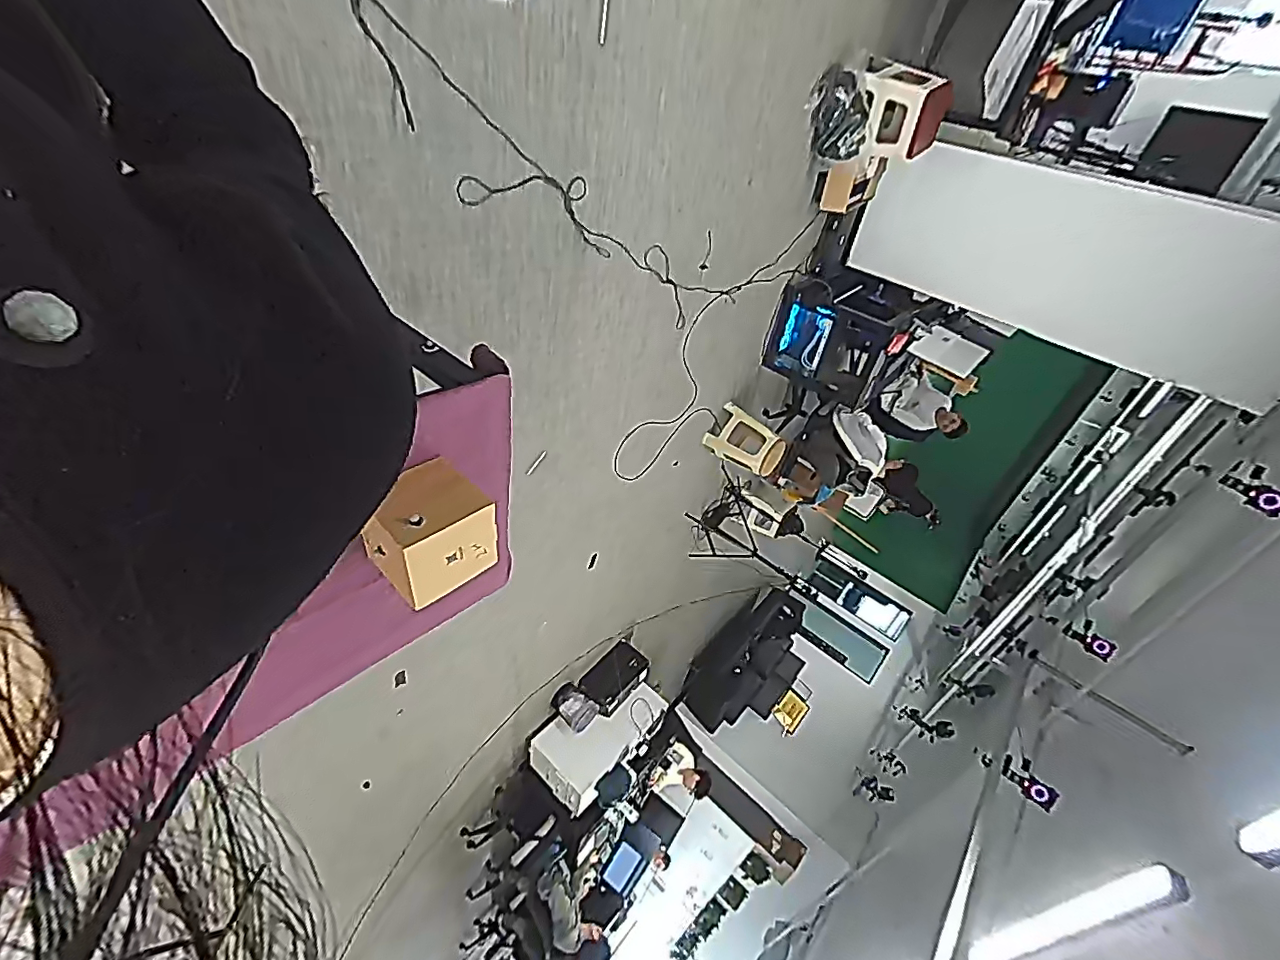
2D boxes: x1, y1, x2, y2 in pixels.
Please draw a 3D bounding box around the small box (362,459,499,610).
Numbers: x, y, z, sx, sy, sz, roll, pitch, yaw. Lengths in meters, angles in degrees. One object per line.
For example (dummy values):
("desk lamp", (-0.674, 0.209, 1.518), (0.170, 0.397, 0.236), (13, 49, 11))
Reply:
("small box", (-0.380, 0.092, 0.981), (0.179, 0.176, 0.168), (-32, 147, -39))
